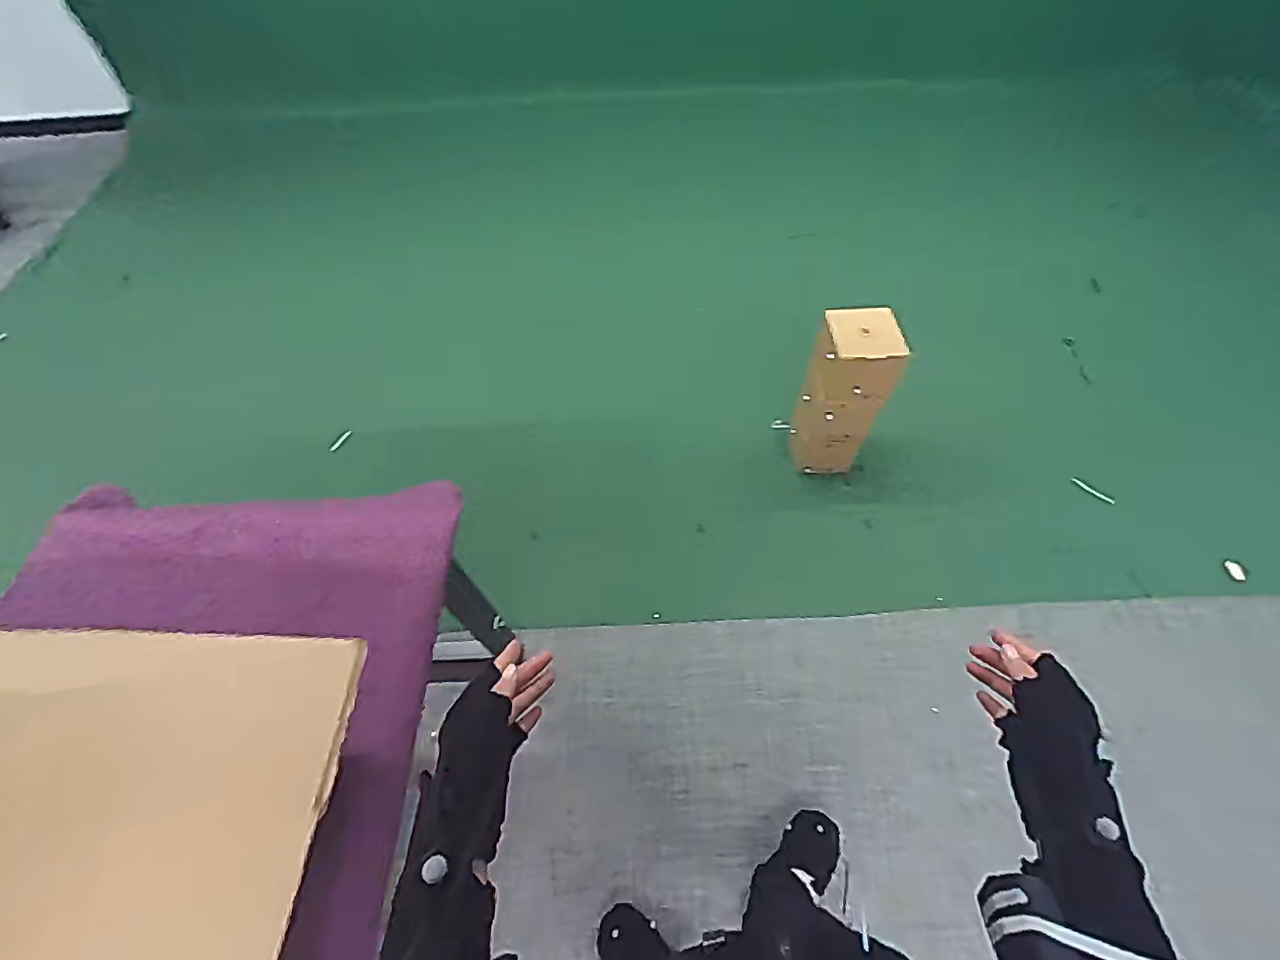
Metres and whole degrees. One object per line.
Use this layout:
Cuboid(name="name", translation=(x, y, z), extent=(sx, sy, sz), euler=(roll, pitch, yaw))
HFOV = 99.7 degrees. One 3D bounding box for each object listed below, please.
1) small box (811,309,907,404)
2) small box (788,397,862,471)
Cuboid(name="small box", translation=(0.558, -0.319, 1.406), extent=(0.168, 0.176, 0.179), euler=(-3, 57, 0))
Cuboid(name="small box", translation=(0.567, -0.138, 1.679), extent=(0.168, 0.176, 0.179), euler=(-1, 57, 2))
